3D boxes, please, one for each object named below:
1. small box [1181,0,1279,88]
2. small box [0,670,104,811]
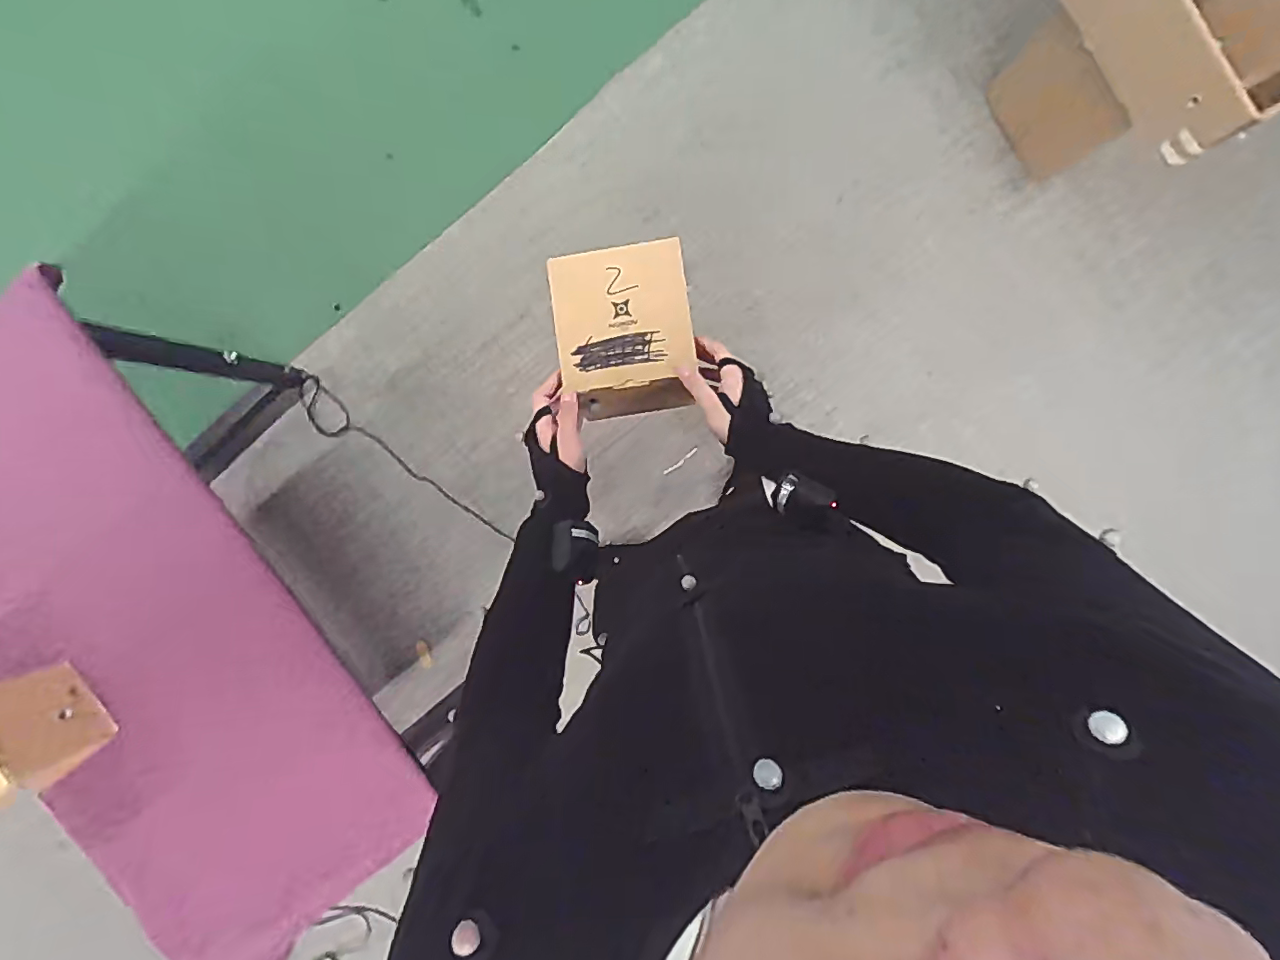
[{"bbox_3d":[1.197,-0.896,1.011,0.179,0.176,0.168,-27,91,5],"label":"small box"},{"bbox_3d":[-1.076,0.454,0.899,0.179,0.176,0.168,-37,90,2],"label":"small box"}]
